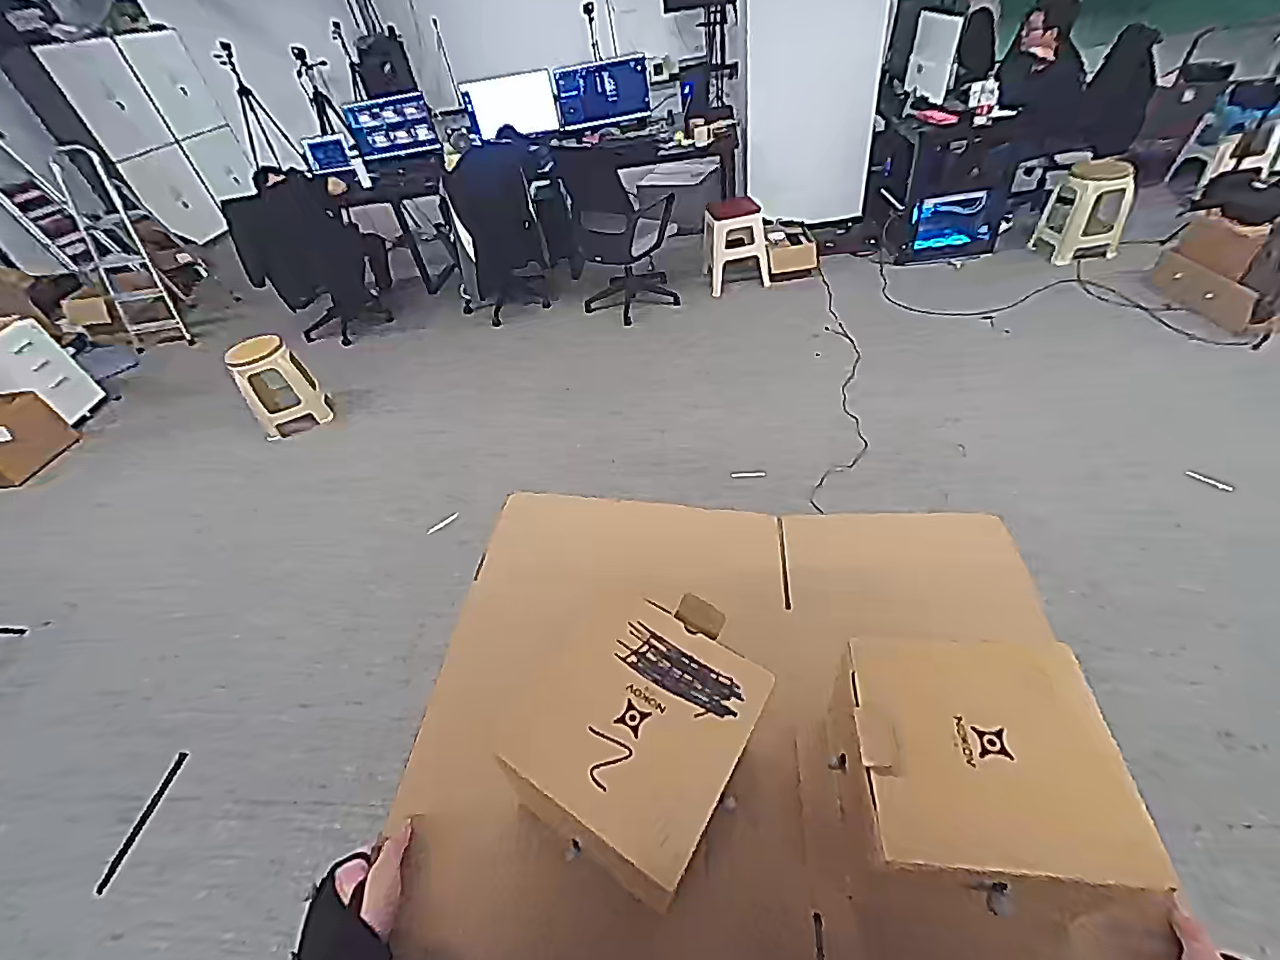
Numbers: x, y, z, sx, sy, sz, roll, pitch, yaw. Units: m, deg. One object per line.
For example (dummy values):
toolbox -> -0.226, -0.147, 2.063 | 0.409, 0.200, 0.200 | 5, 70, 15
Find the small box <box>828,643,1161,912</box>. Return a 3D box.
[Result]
small box -> 0.272, 0.259, 0.472 | 0.179, 0.176, 0.168 | -2, 46, 11
